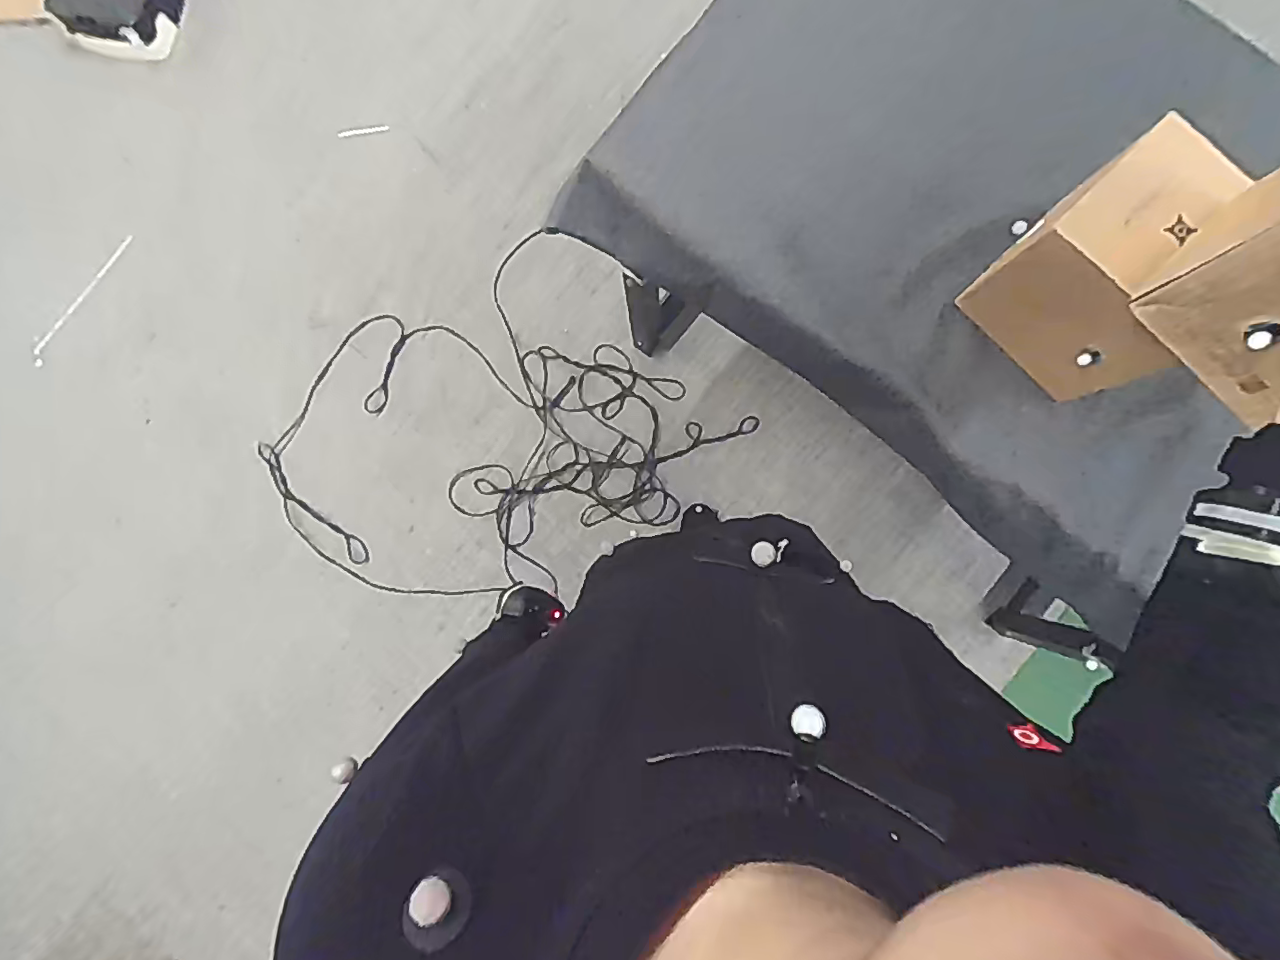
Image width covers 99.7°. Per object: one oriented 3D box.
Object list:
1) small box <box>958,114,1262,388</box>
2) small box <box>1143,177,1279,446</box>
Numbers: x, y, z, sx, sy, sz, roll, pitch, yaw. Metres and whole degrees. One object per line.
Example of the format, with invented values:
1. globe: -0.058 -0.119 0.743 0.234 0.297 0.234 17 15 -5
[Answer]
1. small box: 0.492 -0.217 0.570 0.168 0.176 0.179 -44 85 -3
2. small box: 0.529 -0.151 0.382 0.179 0.176 0.168 -40 85 -12
